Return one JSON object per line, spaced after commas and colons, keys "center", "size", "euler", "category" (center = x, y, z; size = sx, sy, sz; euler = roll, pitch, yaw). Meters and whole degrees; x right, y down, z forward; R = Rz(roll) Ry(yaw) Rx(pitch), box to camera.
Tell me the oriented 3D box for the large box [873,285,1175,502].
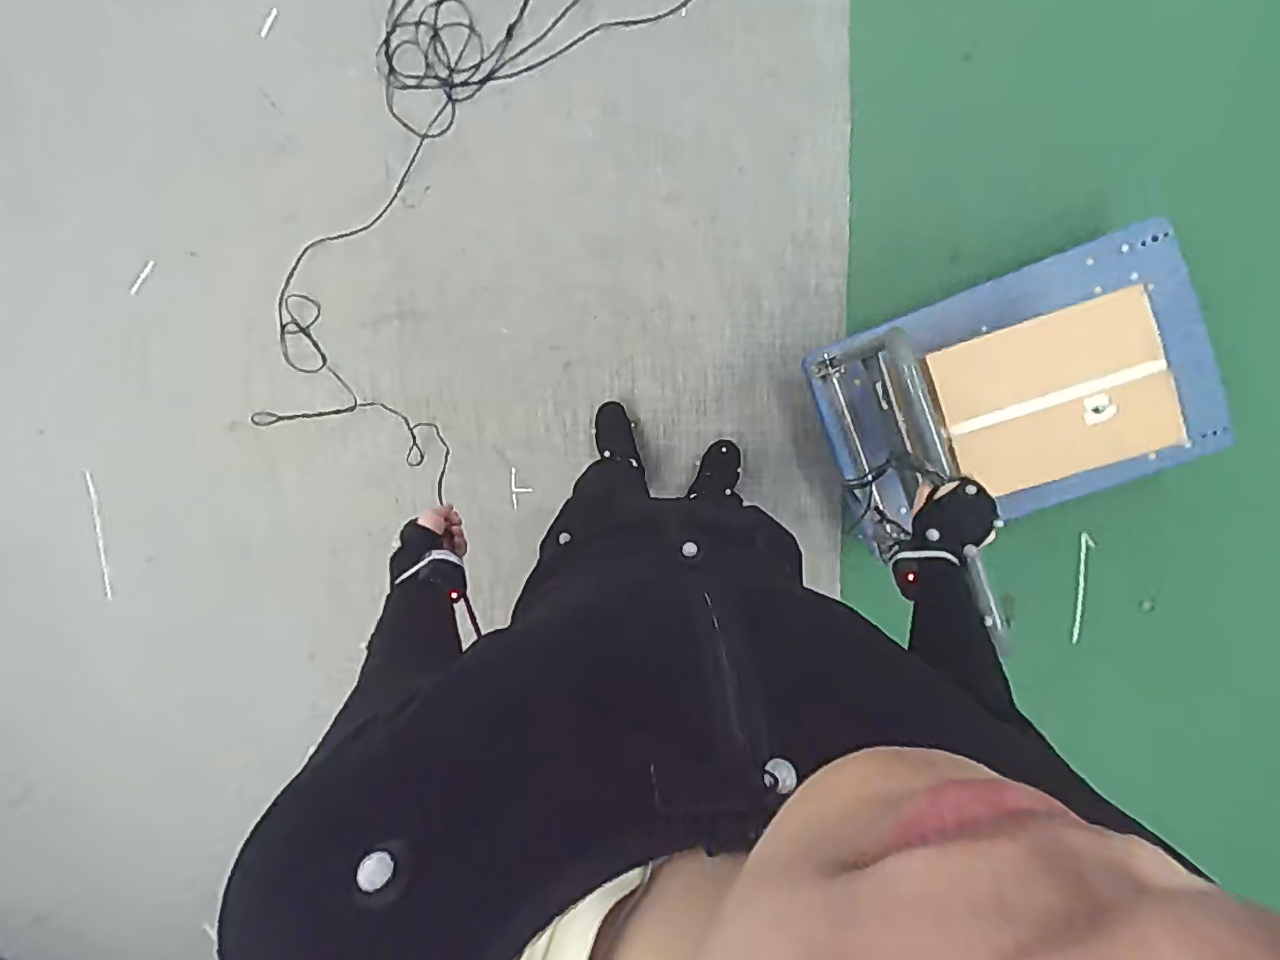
{"center": [0.796, -0.172, 1.187], "size": [0.408, 0.320, 0.320], "euler": [-18, 94, 7], "category": "large box"}
